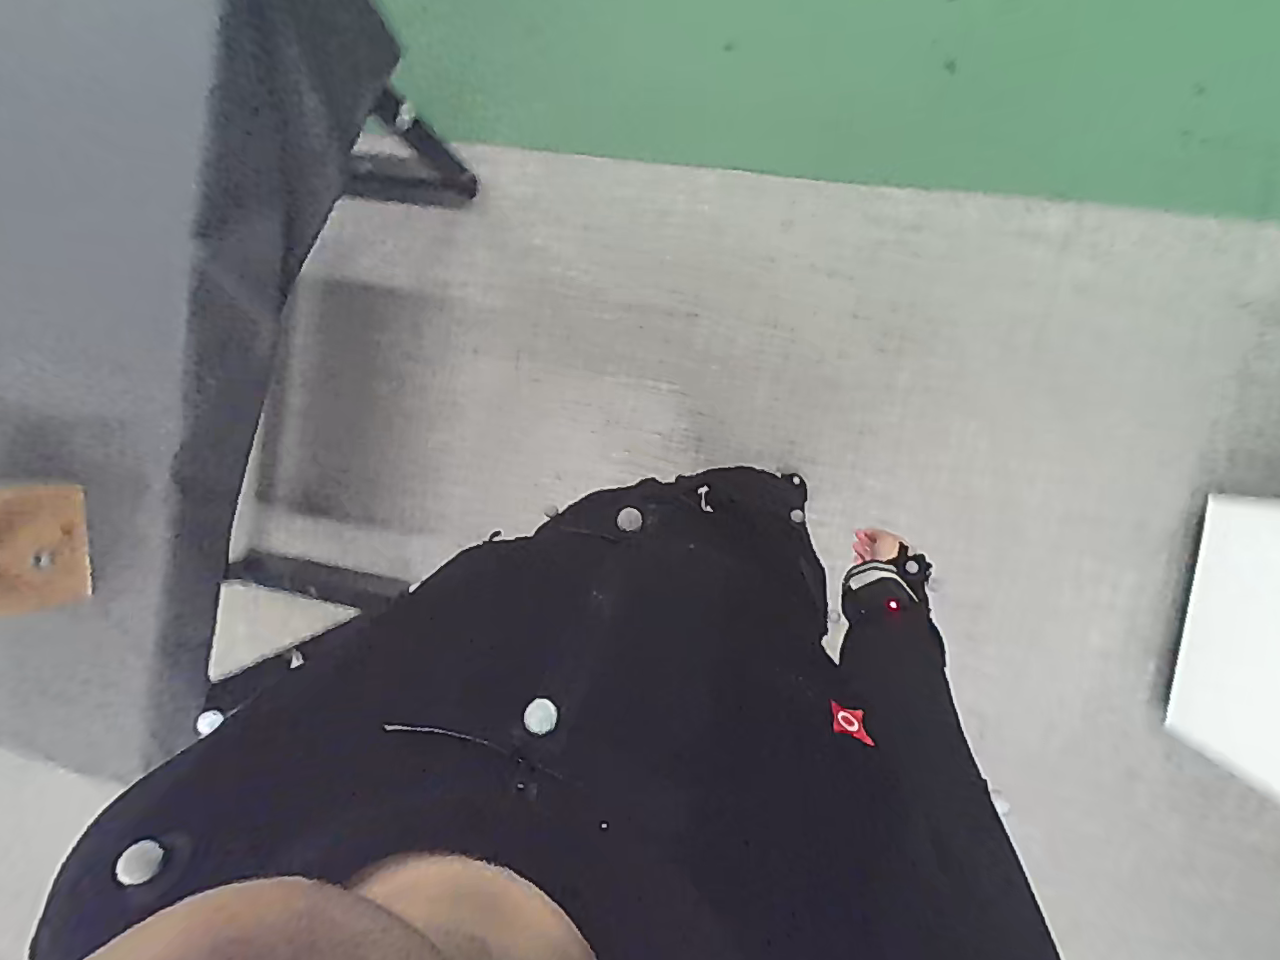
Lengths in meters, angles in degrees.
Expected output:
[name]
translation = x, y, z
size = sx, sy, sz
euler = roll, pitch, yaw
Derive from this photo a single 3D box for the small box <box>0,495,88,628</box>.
[small box]
translation = -0.876, 0.108, 0.694
size = 0.179, 0.176, 0.168
euler = -2, 92, 9
